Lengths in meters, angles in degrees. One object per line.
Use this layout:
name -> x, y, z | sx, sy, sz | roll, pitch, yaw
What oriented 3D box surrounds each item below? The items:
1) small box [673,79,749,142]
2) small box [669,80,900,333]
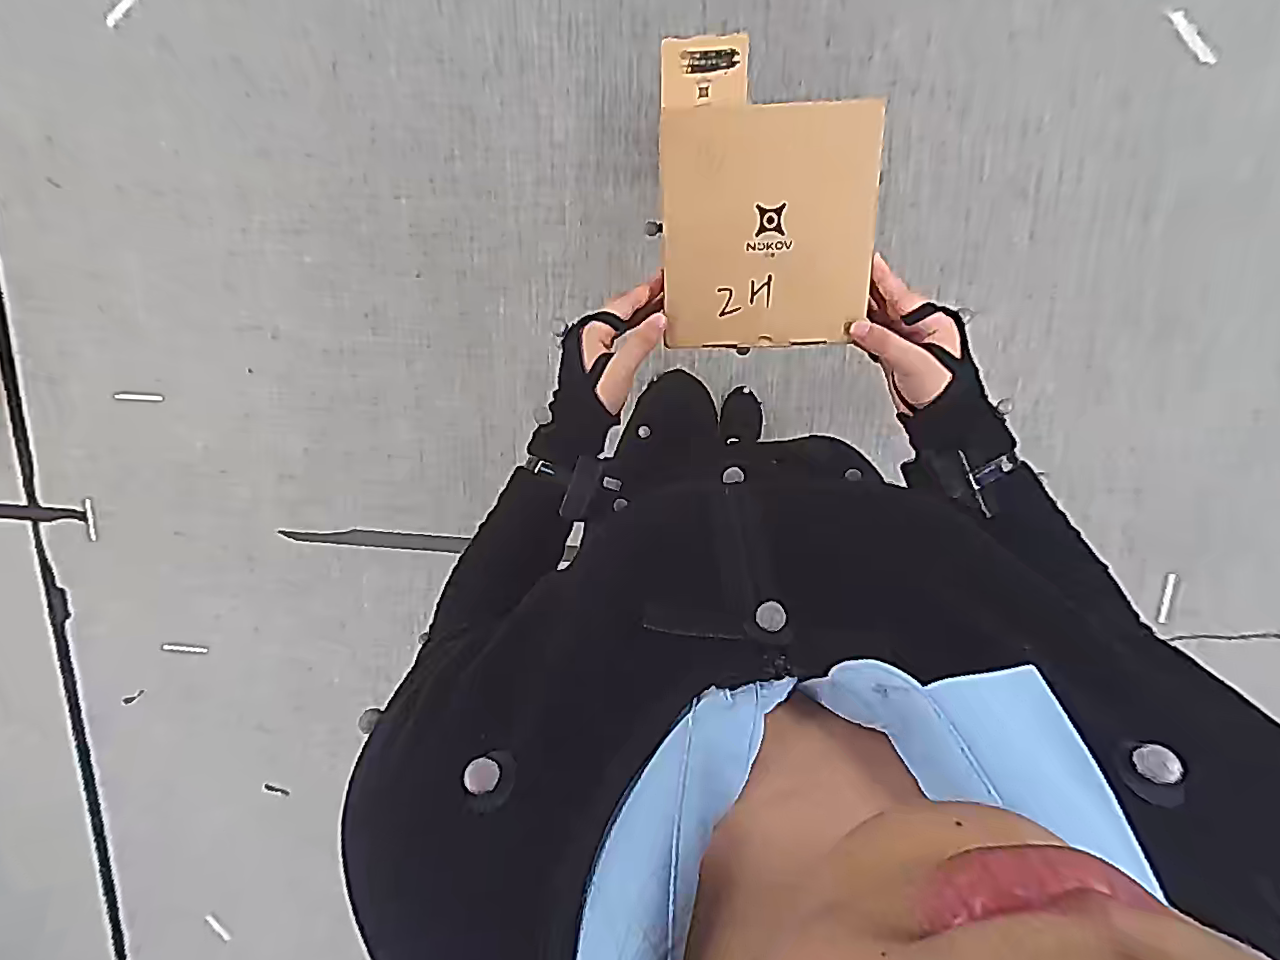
small box -> 0.160, -0.795, 1.262 | 0.168, 0.176, 0.179 | 1, 101, 5
small box -> 0.111, -0.227, 0.492 | 0.168, 0.176, 0.179 | -1, 107, 3
